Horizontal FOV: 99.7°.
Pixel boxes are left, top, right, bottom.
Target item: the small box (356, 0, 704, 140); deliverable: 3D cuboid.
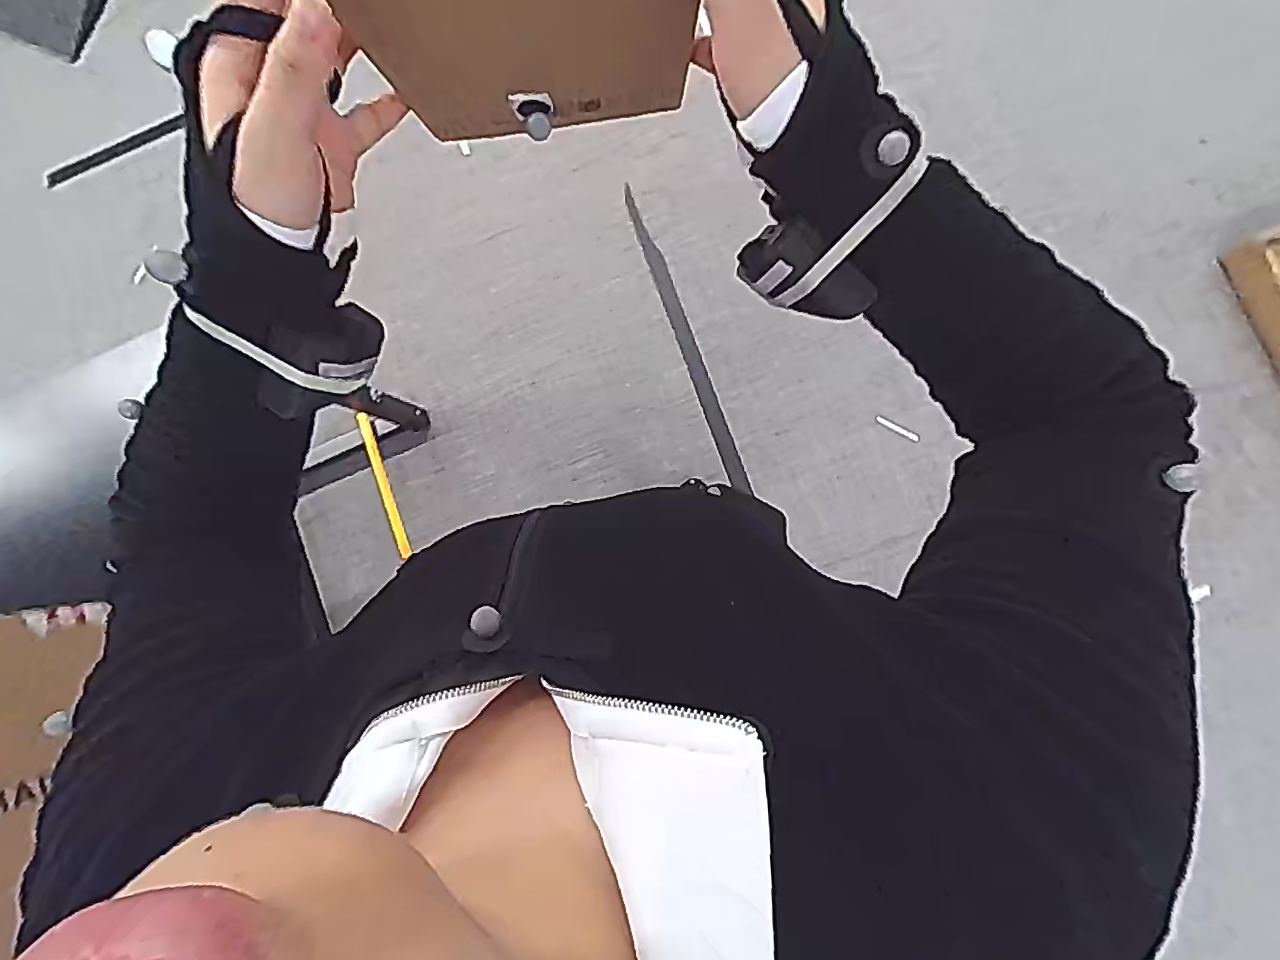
[{"bbox_3d":[-0.061,-0.307,0.272,0.168,0.176,0.179,-7,103,1],"label":"small box"}]
